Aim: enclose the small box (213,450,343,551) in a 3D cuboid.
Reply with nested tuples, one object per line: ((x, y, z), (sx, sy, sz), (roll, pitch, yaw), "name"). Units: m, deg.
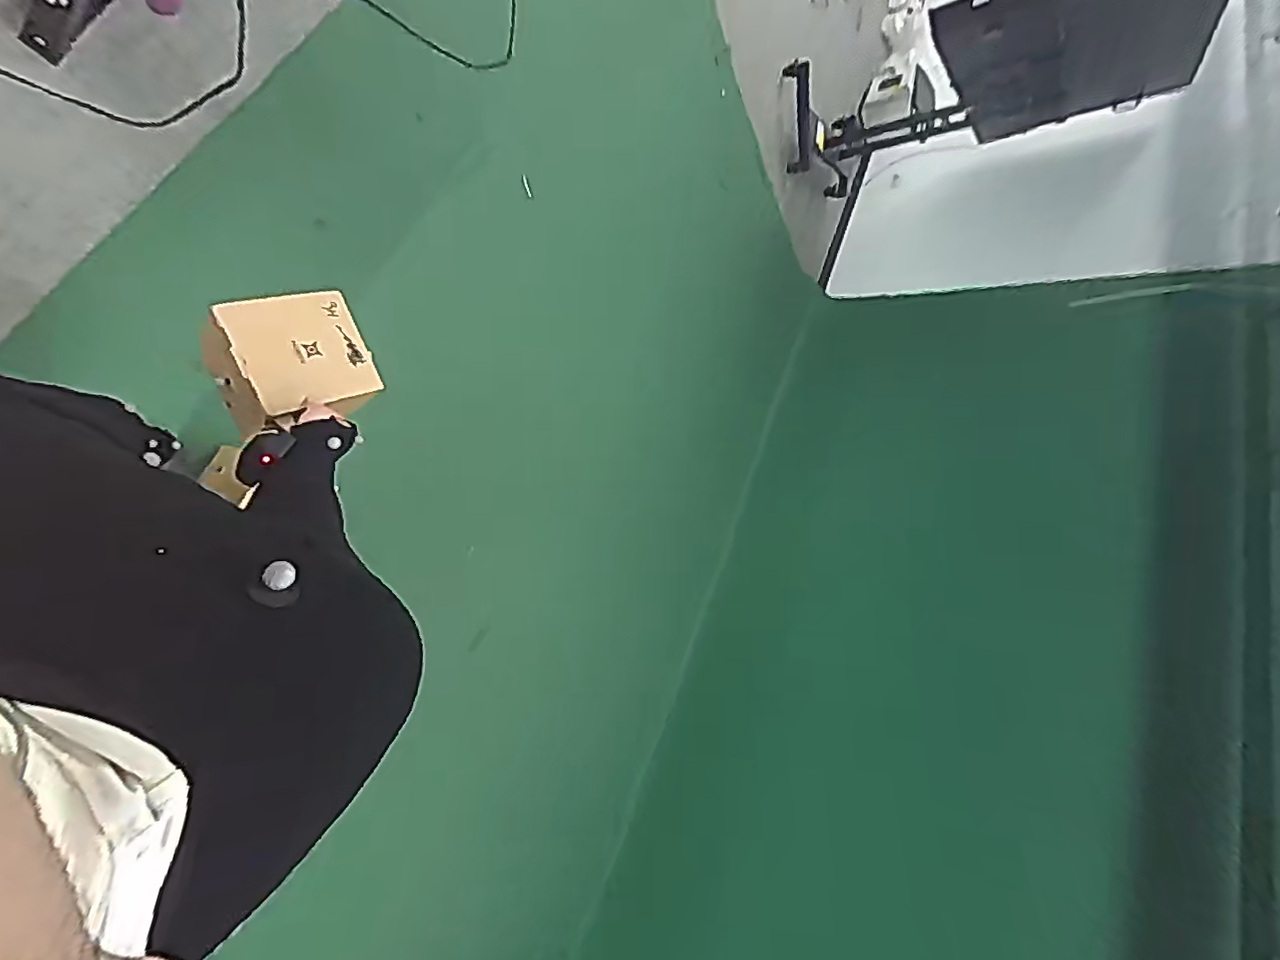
((-0.846, 0.043, 1.261), (0.168, 0.176, 0.179), (43, 63, -48), "small box")

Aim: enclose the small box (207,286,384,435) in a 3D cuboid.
((-0.542, -0.182, 0.846), (0.179, 0.176, 0.168), (-30, 102, -43), "small box")

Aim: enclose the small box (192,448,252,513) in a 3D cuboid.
((-0.975, 0.029, 1.363), (0.179, 0.176, 0.168), (44, 62, -48), "small box")
